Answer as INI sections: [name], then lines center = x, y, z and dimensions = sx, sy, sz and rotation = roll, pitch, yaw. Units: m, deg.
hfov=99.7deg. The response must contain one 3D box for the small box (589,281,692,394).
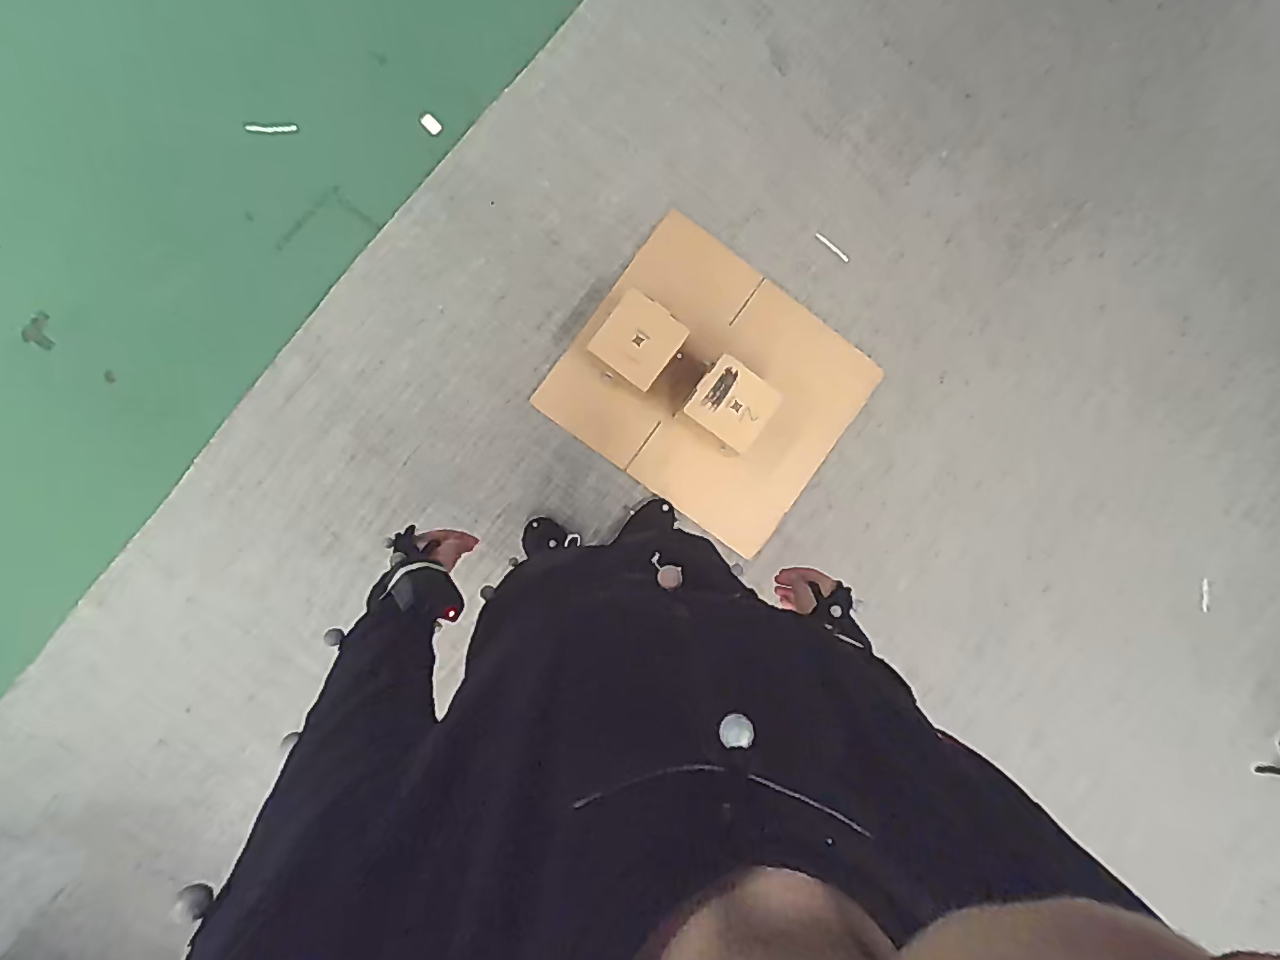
[small box]
center = -0.005, -0.322, 1.259
dimensions = 0.168, 0.176, 0.179
rotation = 37, 90, -4
